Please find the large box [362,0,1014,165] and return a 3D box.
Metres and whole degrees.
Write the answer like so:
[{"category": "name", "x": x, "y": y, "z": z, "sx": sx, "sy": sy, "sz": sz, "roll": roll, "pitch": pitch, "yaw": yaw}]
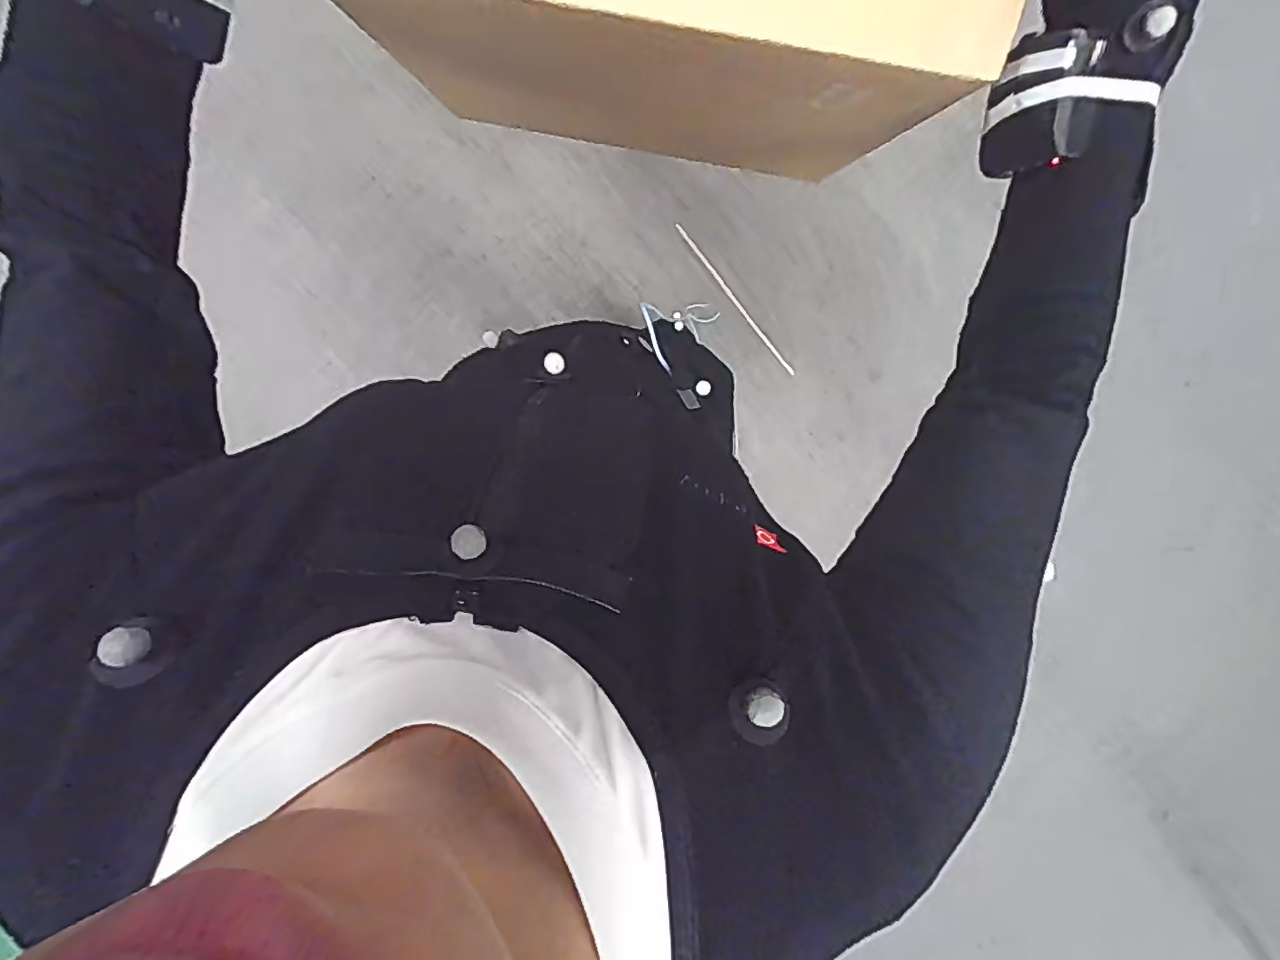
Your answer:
[{"category": "large box", "x": 0.025, "y": -0.459, "z": 0.392, "sx": 0.408, "sy": 0.320, "sz": 0.320, "roll": 7, "pitch": 110, "yaw": -4}]
